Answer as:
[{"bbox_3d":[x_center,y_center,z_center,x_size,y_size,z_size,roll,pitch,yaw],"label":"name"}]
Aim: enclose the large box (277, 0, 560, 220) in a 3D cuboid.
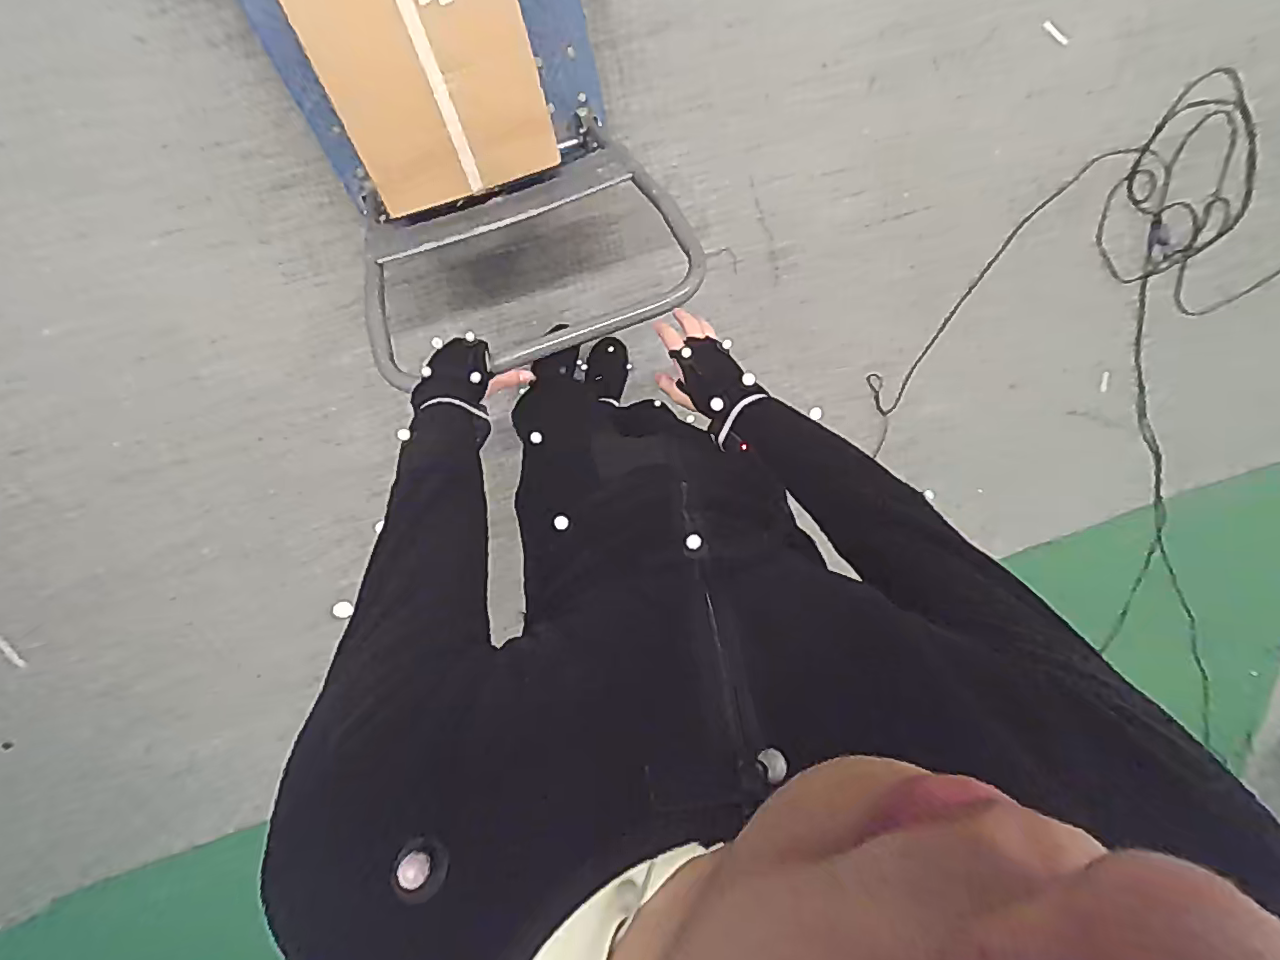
[{"bbox_3d":[-0.366,-0.728,0.908,0.320,0.320,0.408,-21,135,-4],"label":"large box"}]
